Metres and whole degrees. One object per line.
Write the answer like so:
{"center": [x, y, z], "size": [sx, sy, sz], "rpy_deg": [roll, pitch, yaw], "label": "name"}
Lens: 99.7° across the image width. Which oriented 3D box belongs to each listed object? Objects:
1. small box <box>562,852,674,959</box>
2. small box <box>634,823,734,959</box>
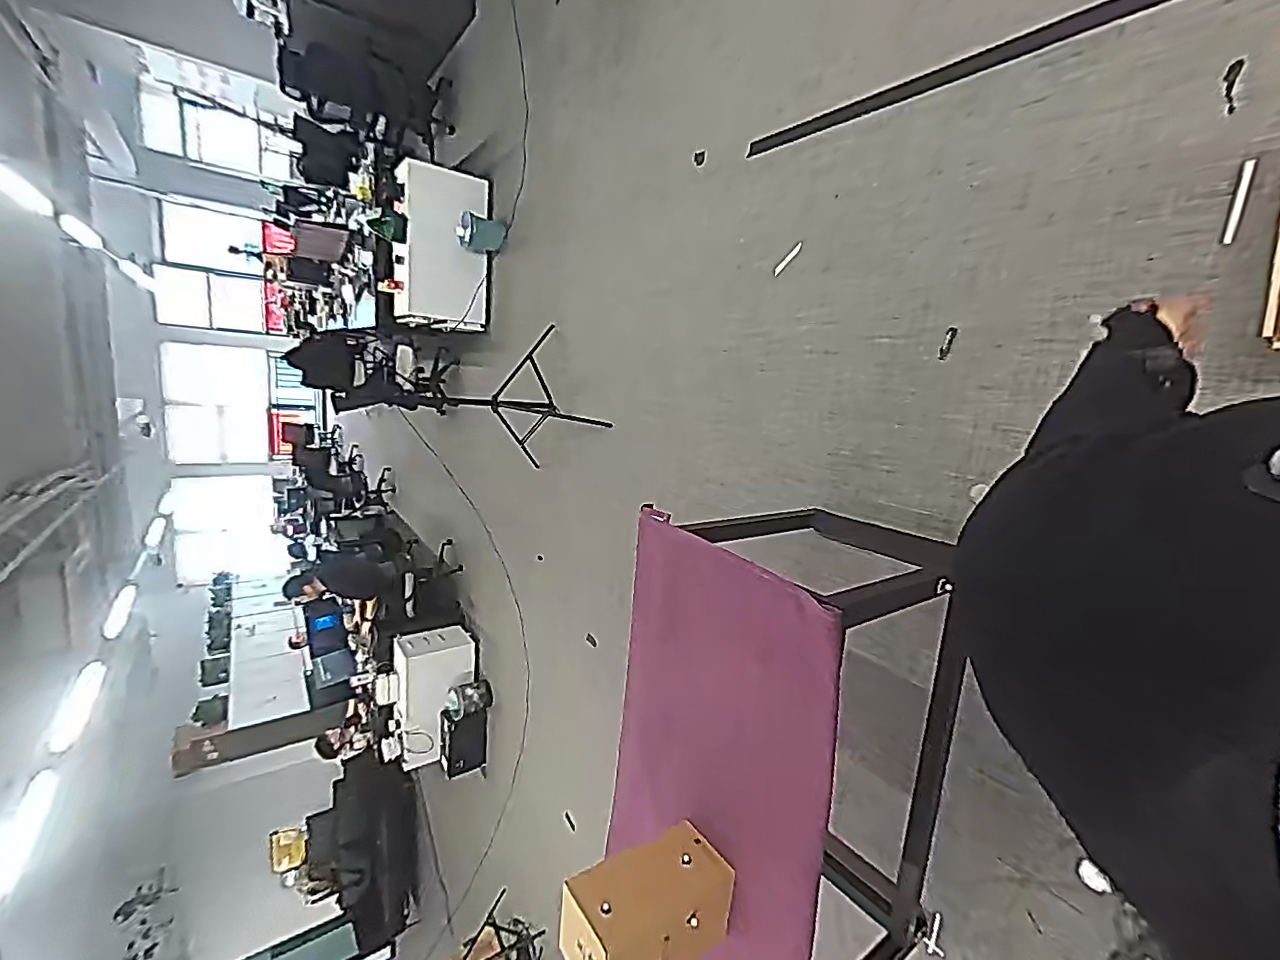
{"center": [-0.046, 0.928, 1.124], "size": [0.179, 0.176, 0.168], "rpy_deg": [18, 106, 53], "label": "small box"}
{"center": [0.092, 0.923, 1.213], "size": [0.168, 0.176, 0.179], "rpy_deg": [21, 109, 53], "label": "small box"}
